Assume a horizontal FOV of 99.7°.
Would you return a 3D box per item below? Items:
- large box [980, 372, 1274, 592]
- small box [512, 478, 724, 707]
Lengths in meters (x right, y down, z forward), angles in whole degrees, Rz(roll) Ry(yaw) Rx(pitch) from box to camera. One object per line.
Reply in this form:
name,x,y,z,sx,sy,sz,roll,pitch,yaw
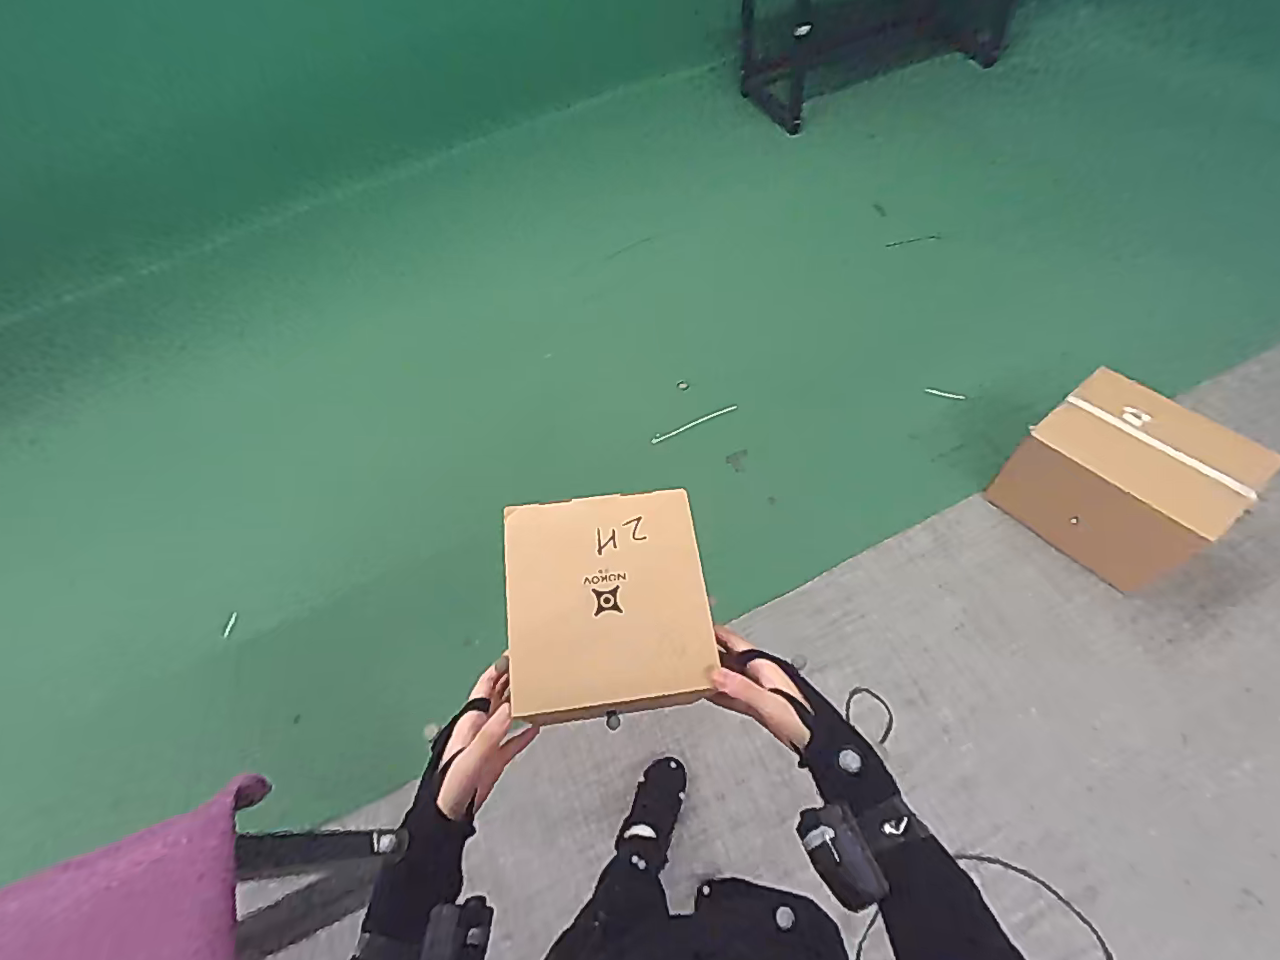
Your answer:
large box,1.197,0.006,1.384,0.320,0.320,0.408,-36,58,-15
small box,-0.027,0.116,0.518,0.168,0.176,0.179,-4,64,-7
